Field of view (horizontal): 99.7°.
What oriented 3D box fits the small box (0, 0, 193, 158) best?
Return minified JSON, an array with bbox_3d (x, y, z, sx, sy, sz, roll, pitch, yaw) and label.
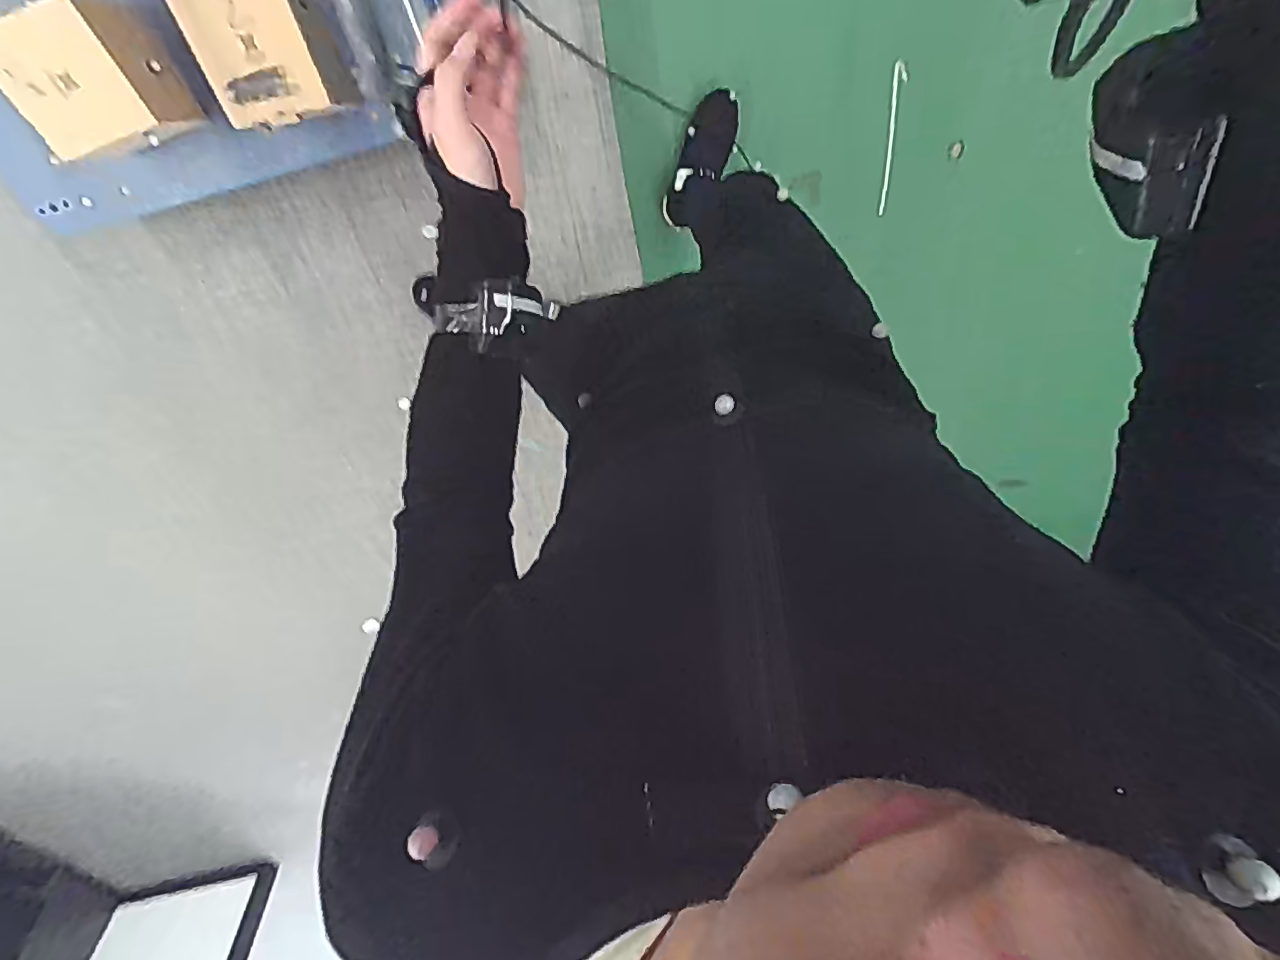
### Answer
[{"bbox_3d":[-0.875,-0.643,0.869,0.179,0.176,0.168,-18,126,3],"label":"small box"}]
